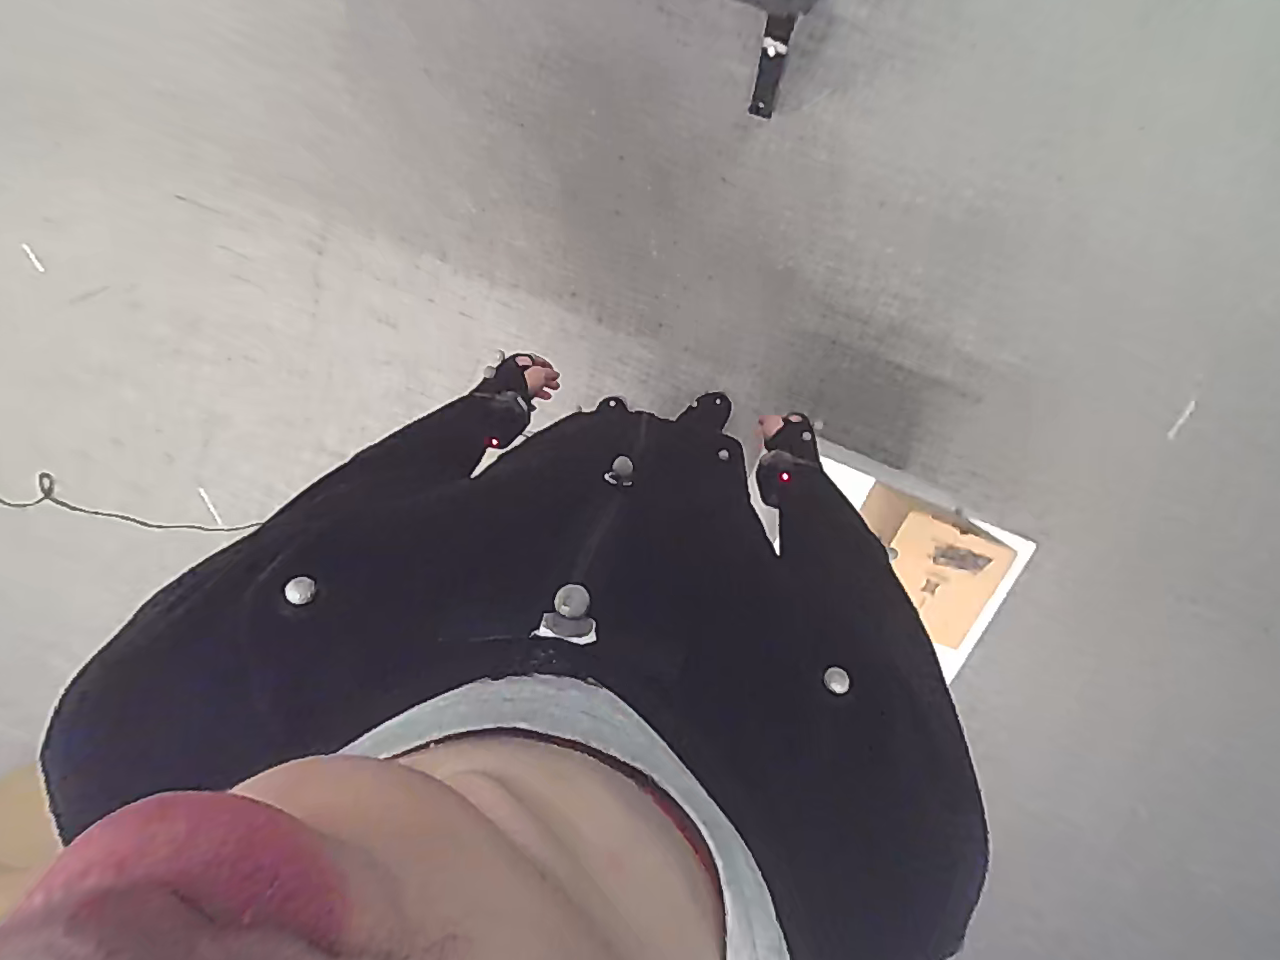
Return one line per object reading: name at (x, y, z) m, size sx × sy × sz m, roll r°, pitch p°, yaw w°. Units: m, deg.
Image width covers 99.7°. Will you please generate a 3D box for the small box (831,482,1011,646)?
small box at (0.429, 0.122, 0.863) m, size 0.168 × 0.176 × 0.179 m, roll 23°, pitch 106°, yaw 0°
